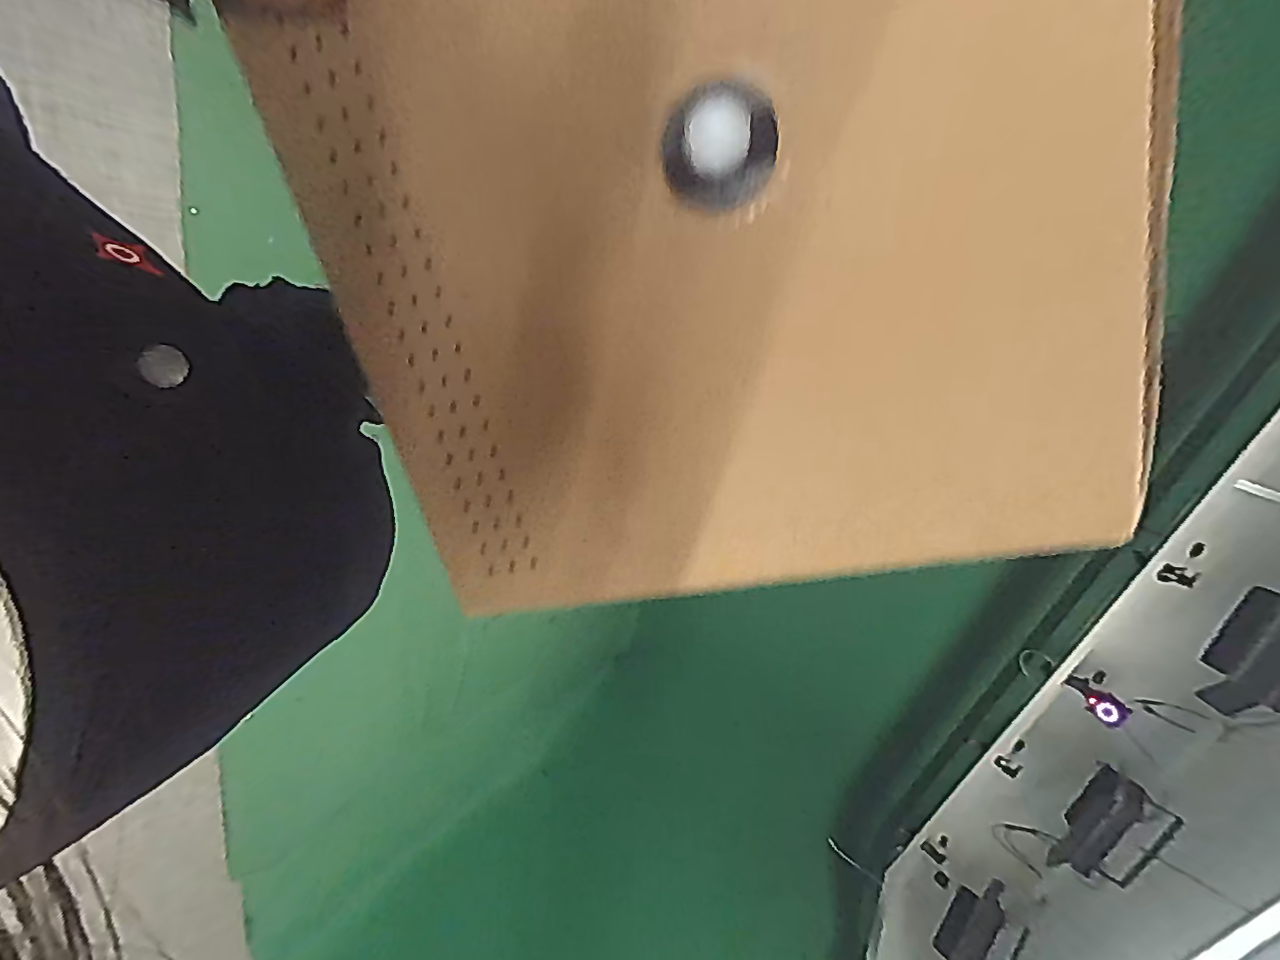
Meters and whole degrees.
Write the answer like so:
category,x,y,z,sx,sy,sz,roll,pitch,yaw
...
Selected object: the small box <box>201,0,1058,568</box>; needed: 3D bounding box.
category,x,y,z,sx,sy,sz,roll,pitch,yaw
small box,0.009,-0.081,0.193,0.168,0.176,0.179,-66,143,-68
